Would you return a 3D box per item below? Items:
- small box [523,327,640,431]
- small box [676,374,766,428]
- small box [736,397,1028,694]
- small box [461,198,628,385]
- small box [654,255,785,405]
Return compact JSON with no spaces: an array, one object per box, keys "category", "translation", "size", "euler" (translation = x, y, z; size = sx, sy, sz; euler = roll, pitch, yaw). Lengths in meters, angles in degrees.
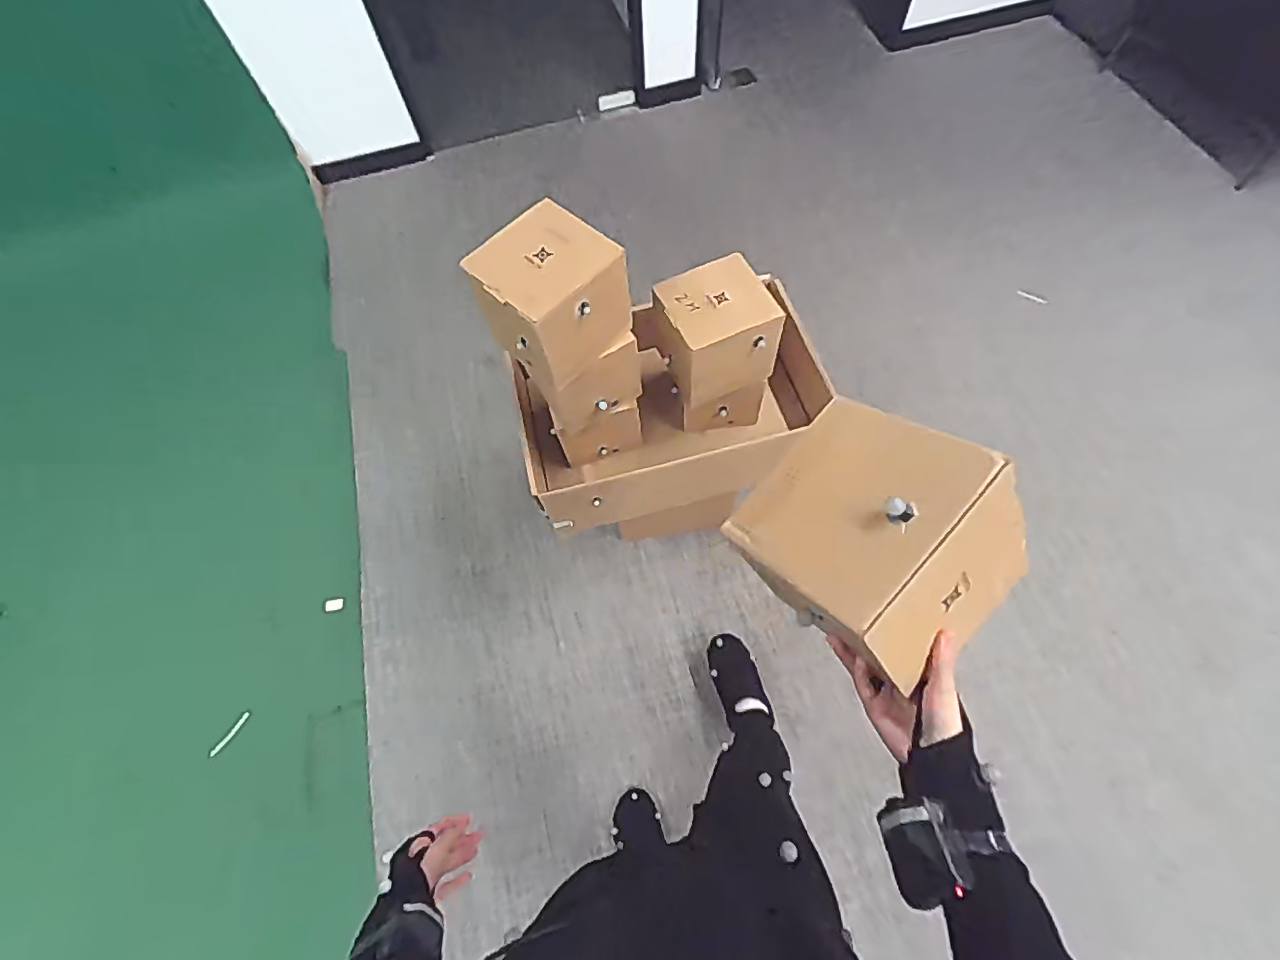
[{"category":"small box","translation":[-0.114,-0.222,0.979],"size":[0.168,0.176,0.179],"euler":[-30,67,-10]},{"category":"small box","translation":[0.161,-0.222,1.144],"size":[0.168,0.176,0.179],"euler":[-5,65,0]},{"category":"small box","translation":[0.213,0.052,0.500],"size":[0.179,0.168,0.176],"euler":[-47,39,-6]},{"category":"small box","translation":[-0.132,-0.279,0.827],"size":[0.168,0.176,0.179],"euler":[41,74,19]},{"category":"small box","translation":[0.137,-0.267,0.985],"size":[0.179,0.176,0.168],"euler":[-22,64,-6]}]
